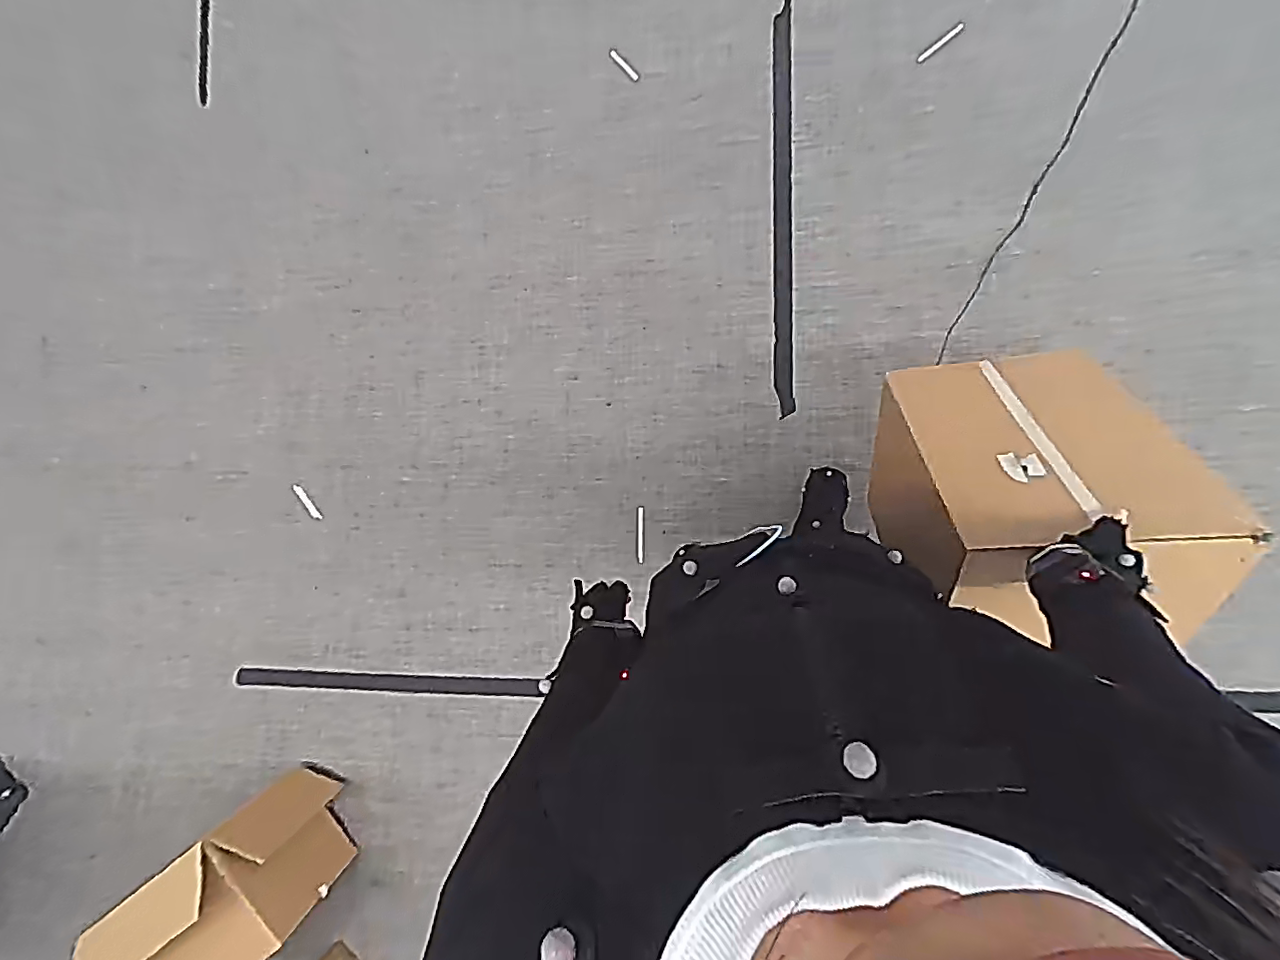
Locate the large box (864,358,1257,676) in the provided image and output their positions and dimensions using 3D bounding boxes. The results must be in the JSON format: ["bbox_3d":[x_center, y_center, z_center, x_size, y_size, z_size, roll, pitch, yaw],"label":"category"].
[{"bbox_3d":[0.574,0.054,0.864,0.320,0.320,0.408,-5,43,11],"label":"large box"}]
